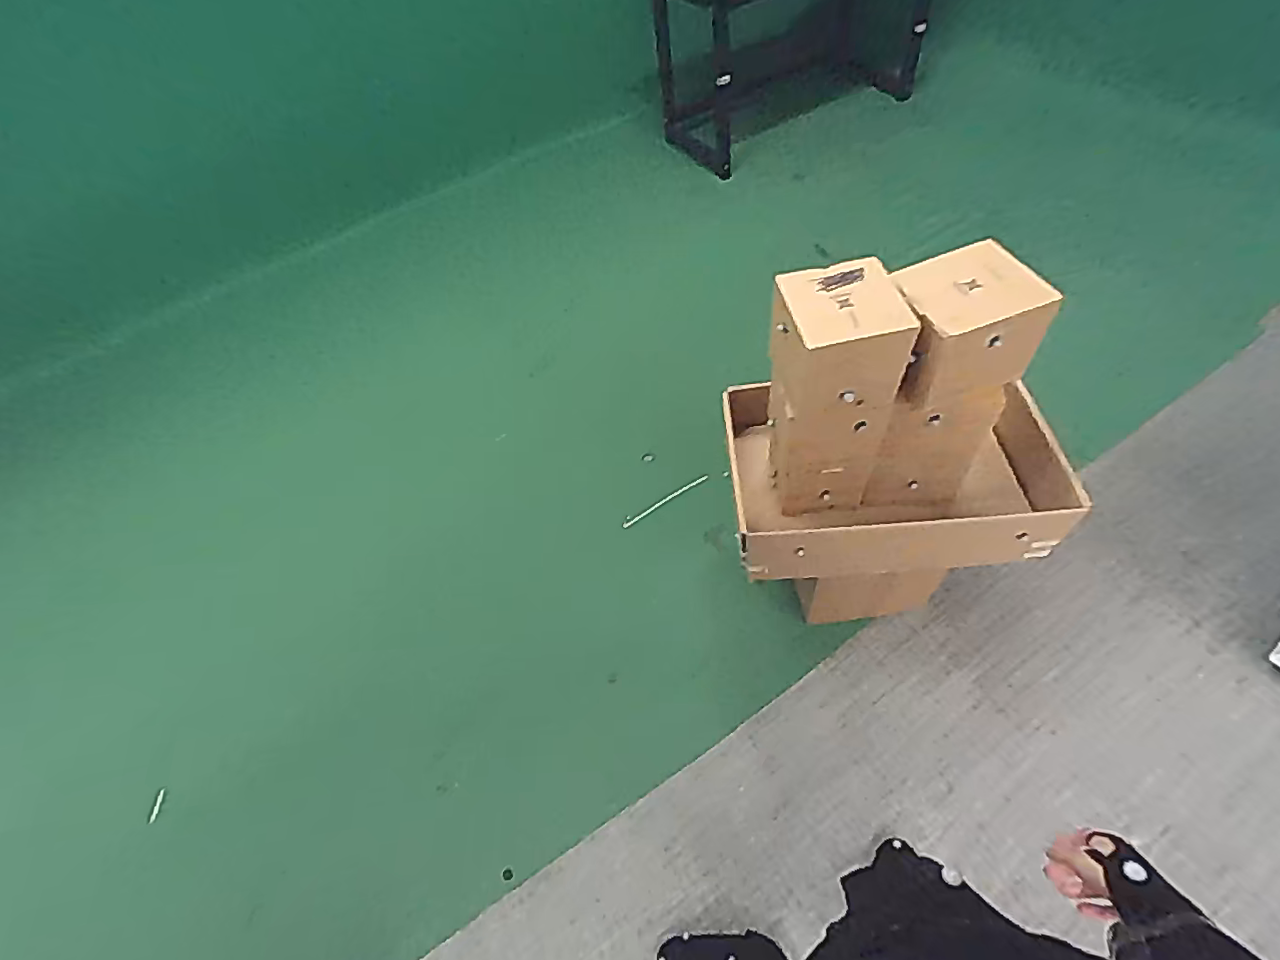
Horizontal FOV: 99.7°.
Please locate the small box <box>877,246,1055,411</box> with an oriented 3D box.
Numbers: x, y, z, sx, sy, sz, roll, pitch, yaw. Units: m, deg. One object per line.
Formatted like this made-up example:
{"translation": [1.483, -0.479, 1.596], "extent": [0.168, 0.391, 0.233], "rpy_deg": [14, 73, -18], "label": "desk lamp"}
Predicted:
{"translation": [0.505, -0.238, 0.875], "extent": [0.179, 0.176, 0.168], "rpy_deg": [-18, 54, 1], "label": "small box"}
